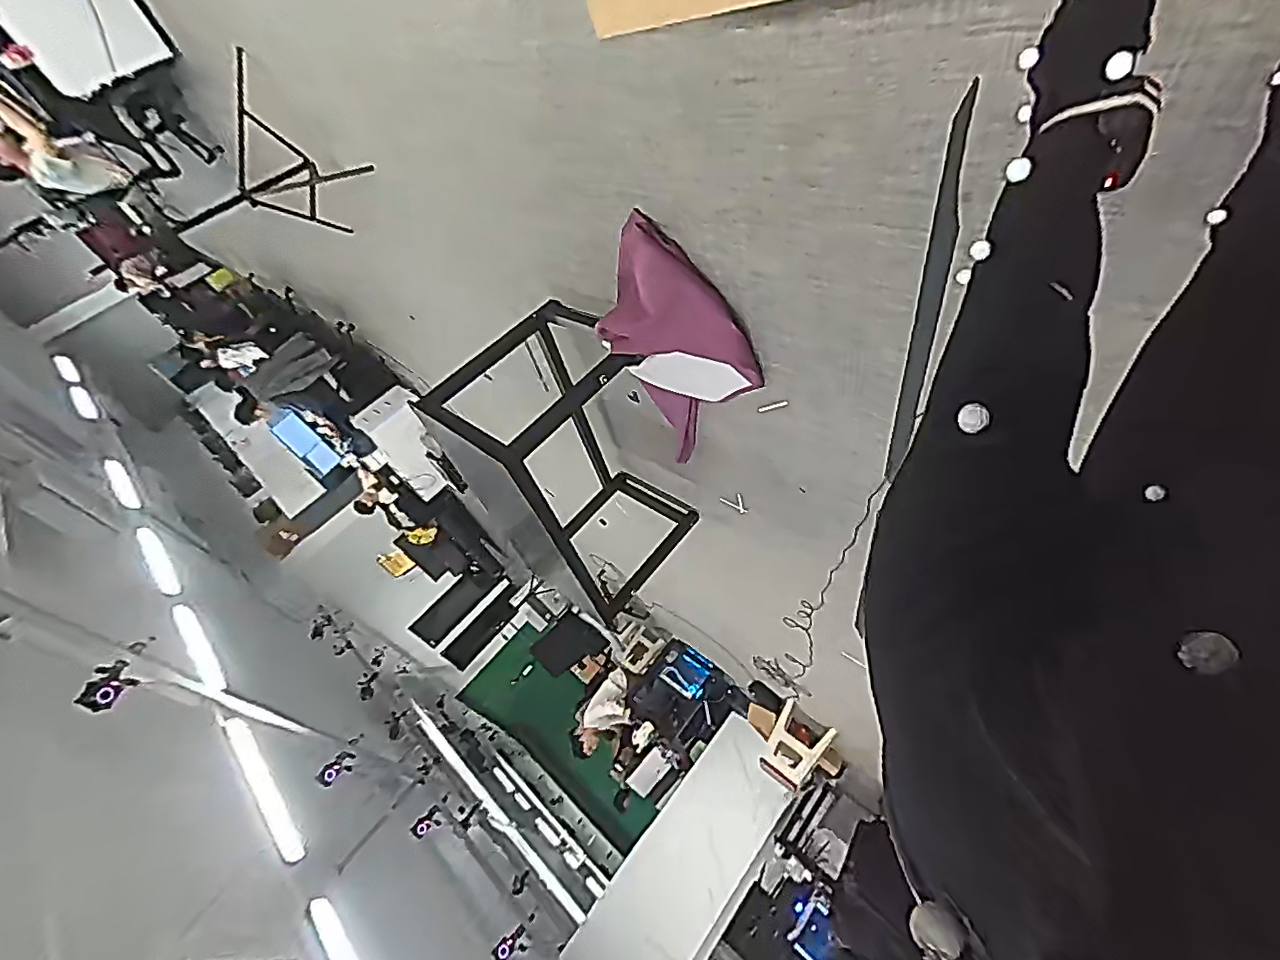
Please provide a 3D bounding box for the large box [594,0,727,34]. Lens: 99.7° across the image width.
[{"bbox_3d":[0.130,-0.892,0.744,0.408,0.320,0.320,24,152,38],"label":"large box"}]
